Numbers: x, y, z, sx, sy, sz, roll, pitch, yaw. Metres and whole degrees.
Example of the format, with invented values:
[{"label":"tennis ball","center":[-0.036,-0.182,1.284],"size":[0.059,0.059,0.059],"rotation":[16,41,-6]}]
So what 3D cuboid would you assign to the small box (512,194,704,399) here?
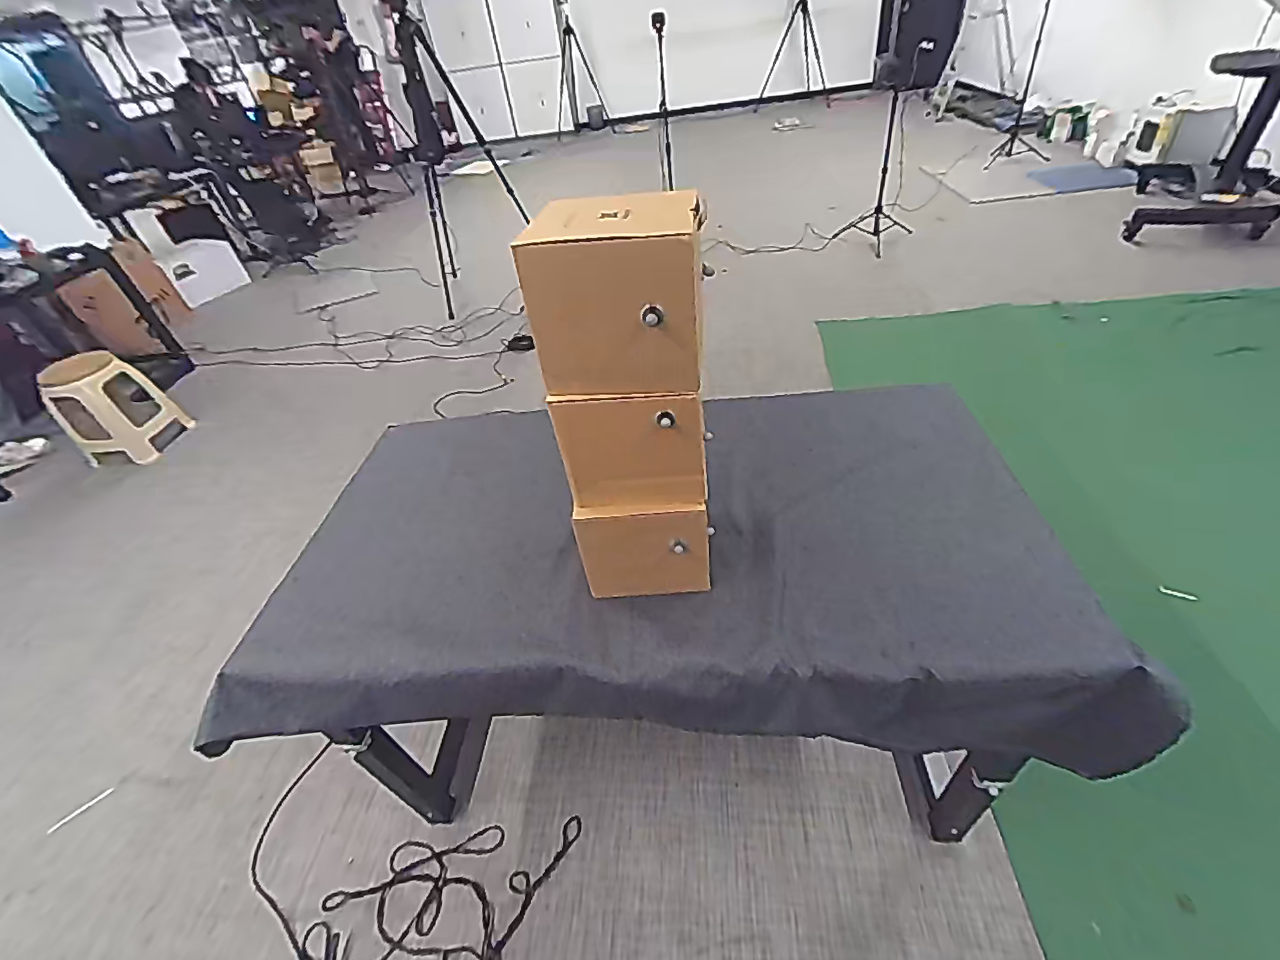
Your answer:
[{"label":"small box","center":[-0.019,-0.203,0.609],"size":[0.179,0.176,0.168],"rotation":[-1,39,9]}]

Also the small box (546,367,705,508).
[{"label":"small box","center":[-0.007,-0.076,0.710],"size":[0.179,0.176,0.168],"rotation":[-2,40,6]}]
